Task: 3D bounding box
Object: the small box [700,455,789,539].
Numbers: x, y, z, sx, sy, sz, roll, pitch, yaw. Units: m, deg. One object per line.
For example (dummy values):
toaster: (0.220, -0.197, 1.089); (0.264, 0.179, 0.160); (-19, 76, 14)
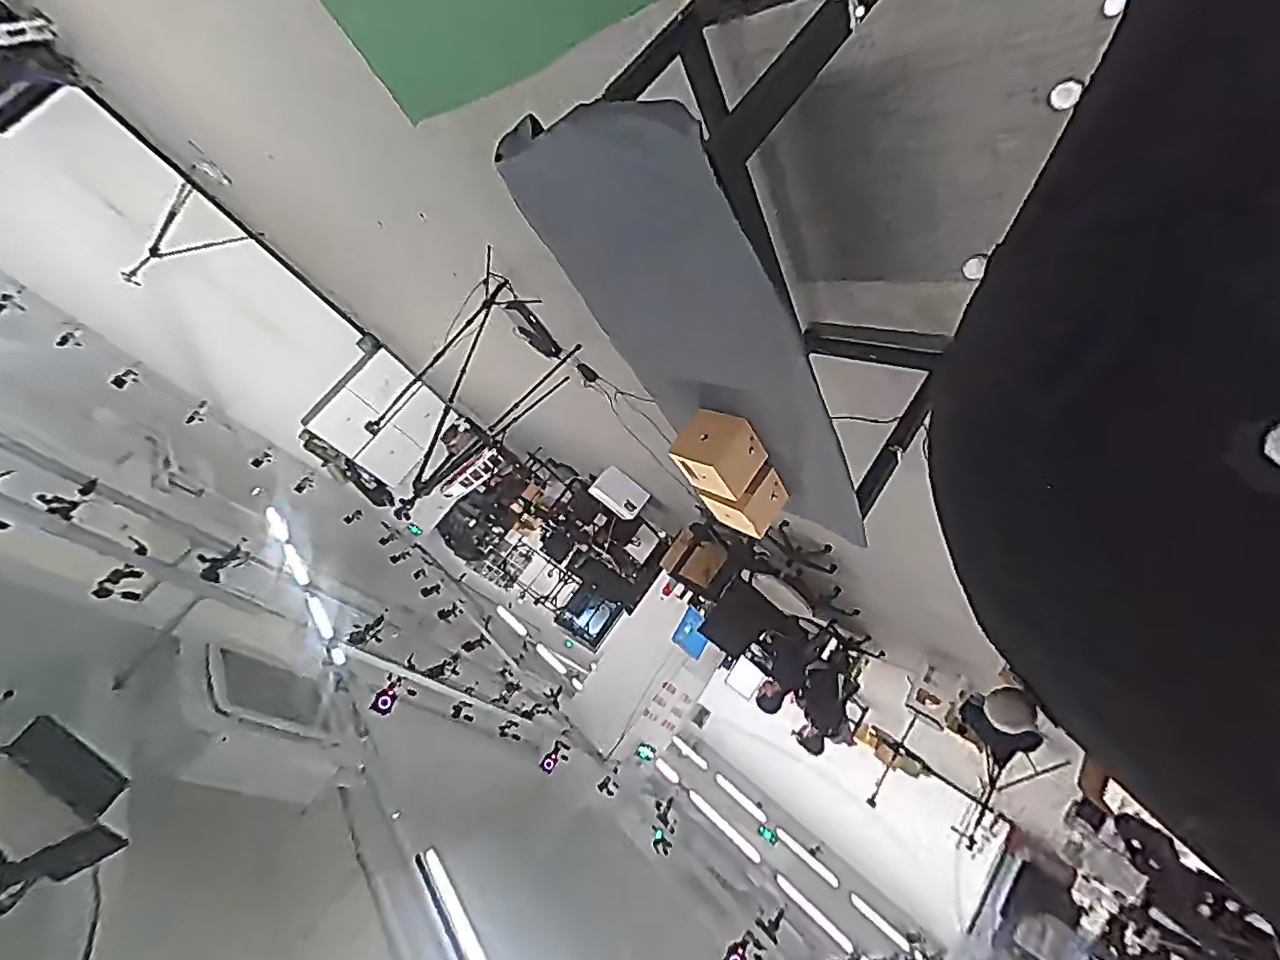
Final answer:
small box: (0.323, 0.045, 1.652); (0.179, 0.176, 0.168); (24, 161, 44)
